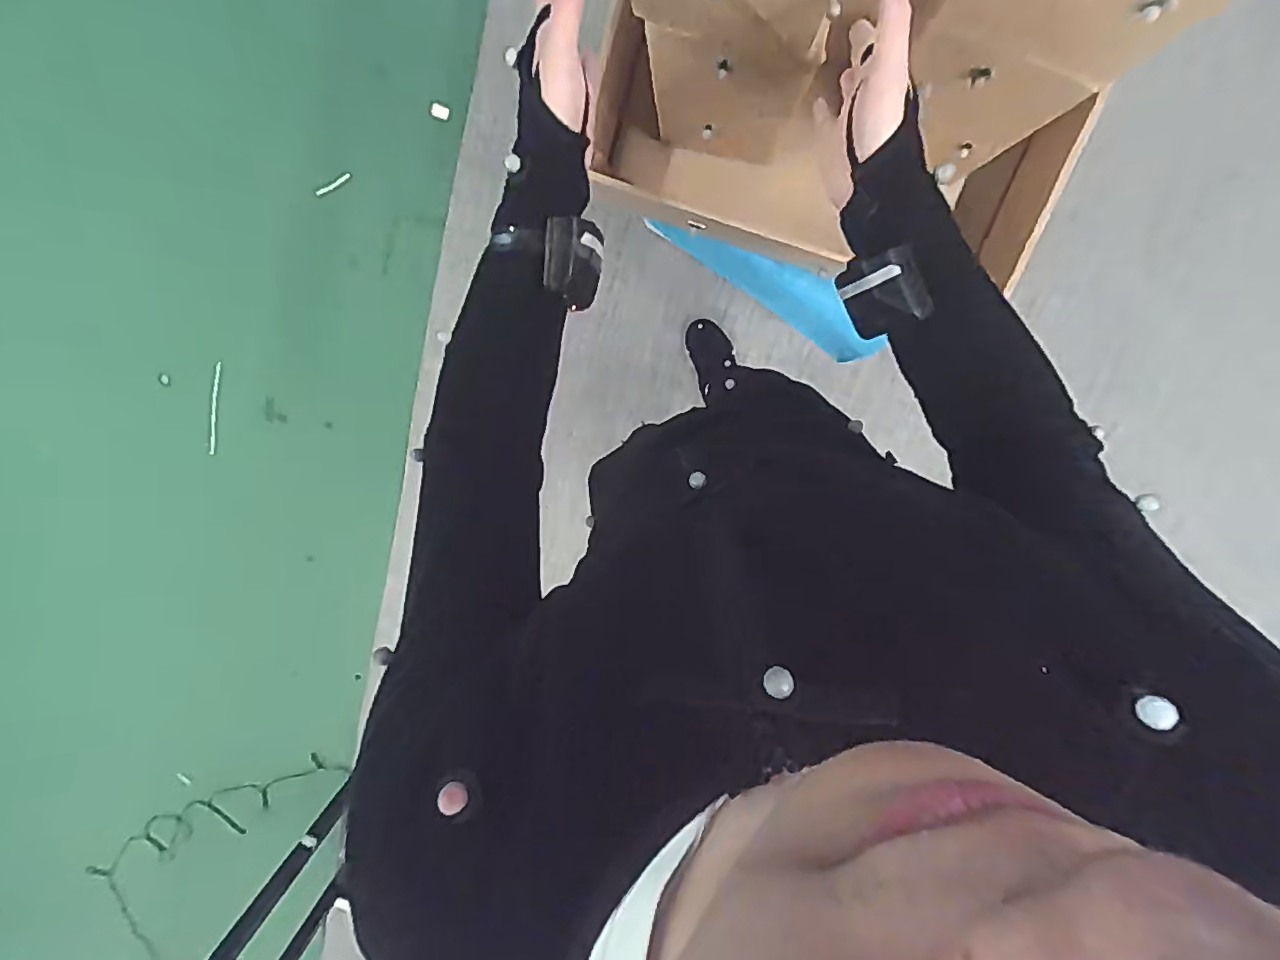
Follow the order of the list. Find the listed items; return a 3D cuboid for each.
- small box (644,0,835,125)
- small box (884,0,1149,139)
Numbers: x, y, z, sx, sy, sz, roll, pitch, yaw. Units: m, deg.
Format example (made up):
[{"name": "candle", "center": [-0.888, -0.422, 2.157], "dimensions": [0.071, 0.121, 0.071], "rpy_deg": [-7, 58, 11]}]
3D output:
[{"name": "small box", "center": [0.113, -0.513, 0.577], "dimensions": [0.179, 0.176, 0.168], "rpy_deg": [14, 105, 1]}, {"name": "small box", "center": [0.385, -0.487, 0.555], "dimensions": [0.179, 0.176, 0.168], "rpy_deg": [22, 106, 0]}]
